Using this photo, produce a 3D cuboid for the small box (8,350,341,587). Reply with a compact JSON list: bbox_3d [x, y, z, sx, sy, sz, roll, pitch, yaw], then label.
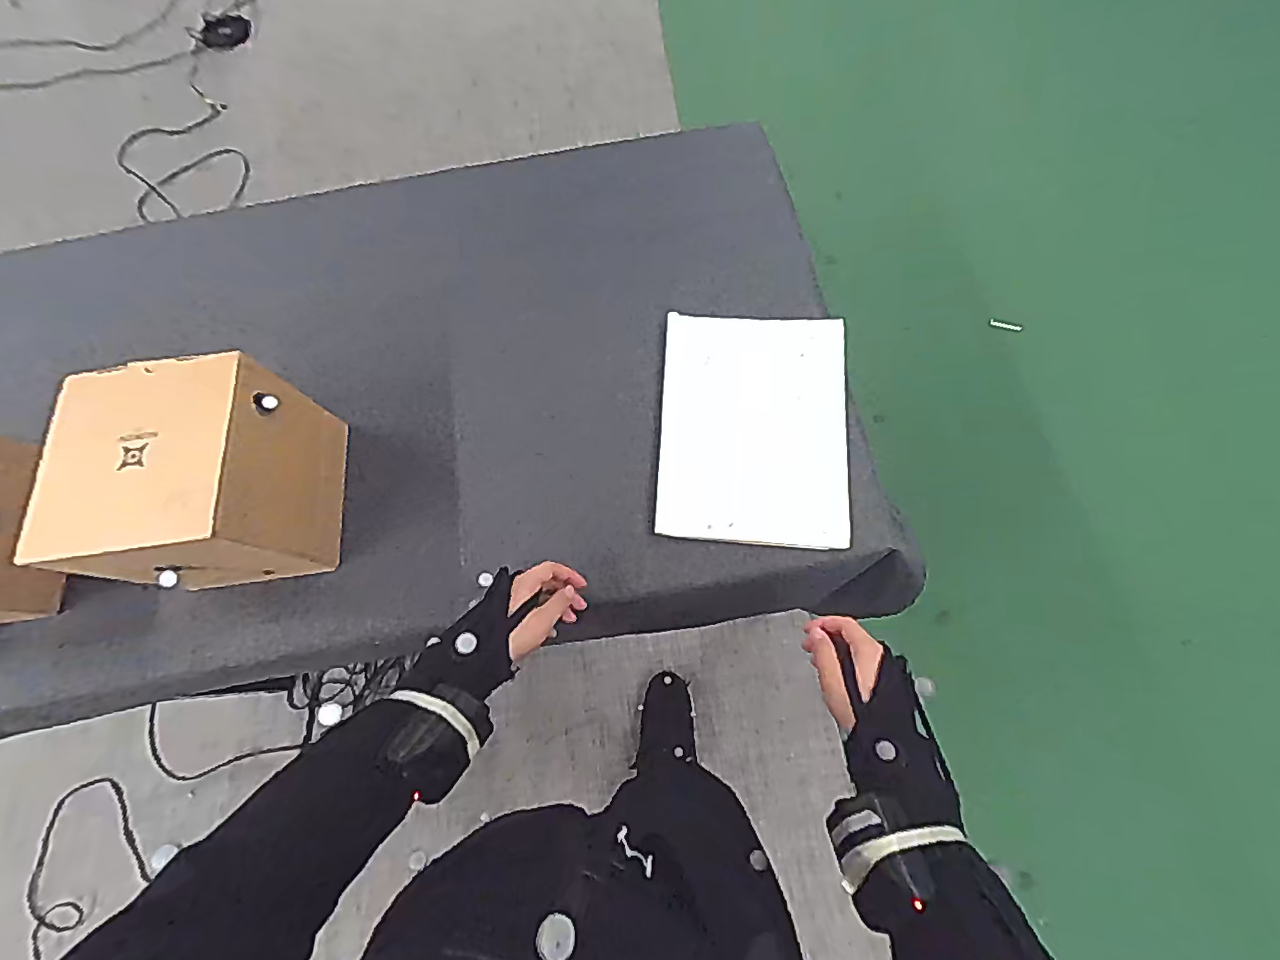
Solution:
[{"bbox_3d":[-0.418,0.004,0.523,0.168,0.176,0.179,-8,70,2],"label":"small box"}]
